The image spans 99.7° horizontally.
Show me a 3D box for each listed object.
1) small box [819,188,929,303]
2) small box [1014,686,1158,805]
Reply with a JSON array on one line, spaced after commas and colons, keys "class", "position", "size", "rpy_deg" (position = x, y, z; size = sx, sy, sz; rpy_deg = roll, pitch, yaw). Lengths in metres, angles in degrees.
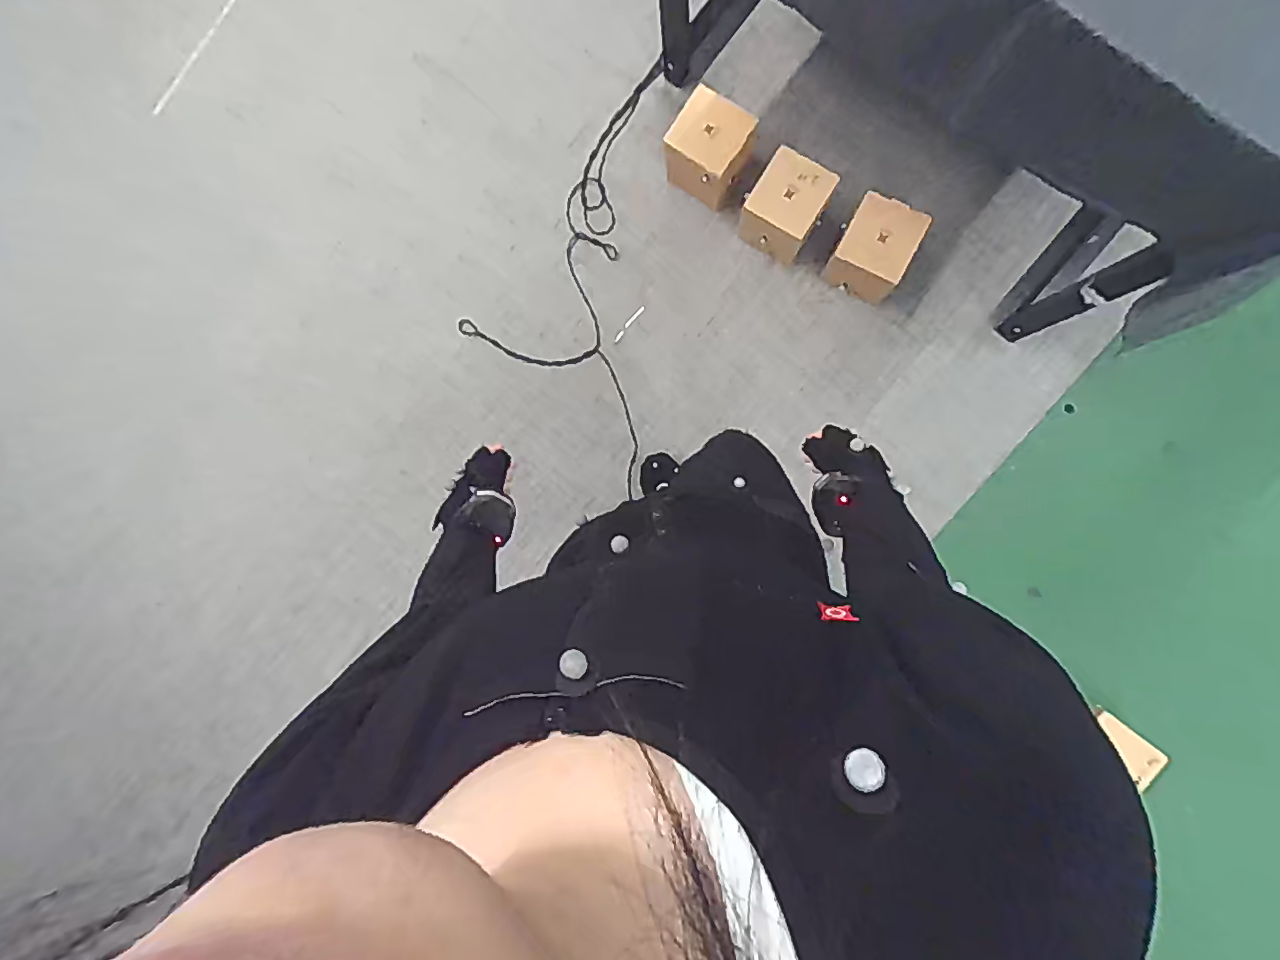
[{"class": "small box", "position": [0.571, -0.576, 1.347], "size": [0.168, 0.176, 0.179], "rpy_deg": [28, 93, 4]}, {"class": "small box", "position": [1.079, 0.635, 1.326], "size": [0.179, 0.176, 0.168], "rpy_deg": [39, 94, 4]}]
